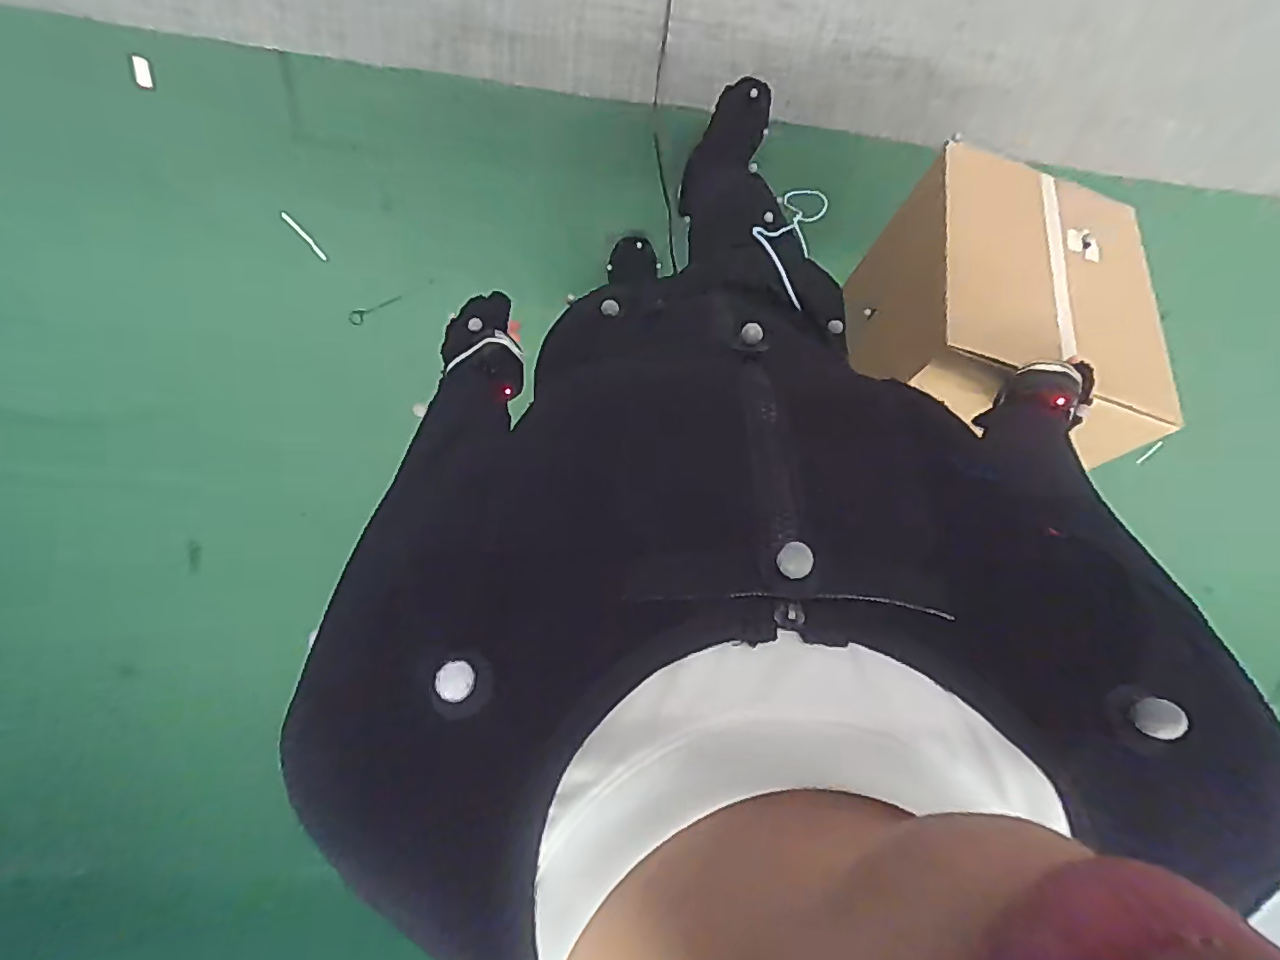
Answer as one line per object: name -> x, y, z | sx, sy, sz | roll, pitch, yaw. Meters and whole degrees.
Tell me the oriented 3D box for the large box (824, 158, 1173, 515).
large box -> 0.518, -0.209, 0.865 | 0.320, 0.408, 0.320 | 18, 153, -4
